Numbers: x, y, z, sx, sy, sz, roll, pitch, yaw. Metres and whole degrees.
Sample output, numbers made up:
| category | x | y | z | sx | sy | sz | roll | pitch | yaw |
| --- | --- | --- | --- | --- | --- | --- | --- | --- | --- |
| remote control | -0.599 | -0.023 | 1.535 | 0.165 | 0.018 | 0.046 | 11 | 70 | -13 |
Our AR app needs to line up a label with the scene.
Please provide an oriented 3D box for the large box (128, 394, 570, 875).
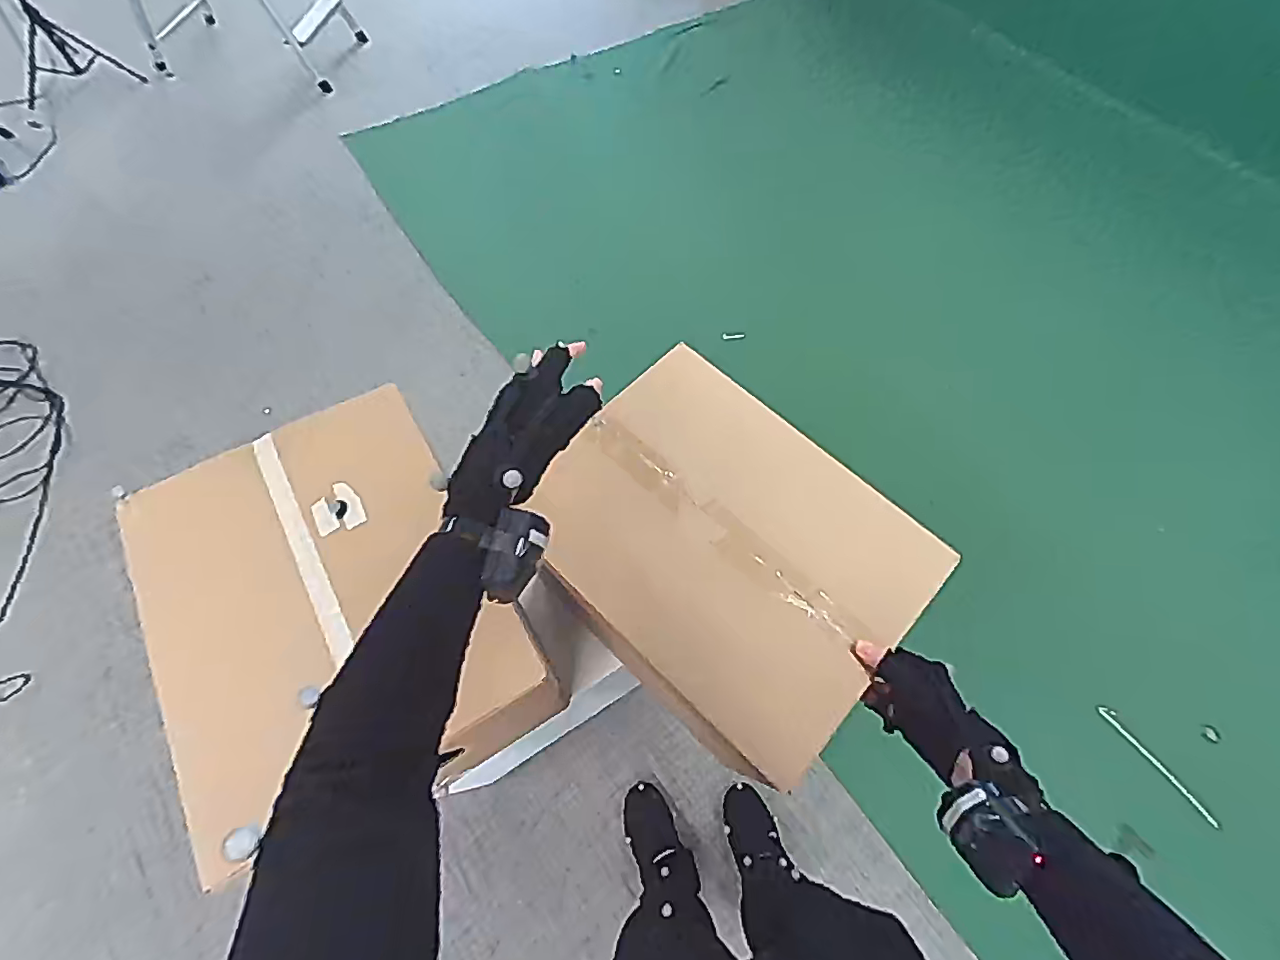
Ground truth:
| category | x | y | z | sx | sy | sz | roll | pitch | yaw |
| --- | --- | --- | --- | --- | --- | --- | --- | --- | --- |
| large box | -0.329 | 0.178 | 0.687 | 0.320 | 0.320 | 0.408 | -28 | 66 | -15 |
